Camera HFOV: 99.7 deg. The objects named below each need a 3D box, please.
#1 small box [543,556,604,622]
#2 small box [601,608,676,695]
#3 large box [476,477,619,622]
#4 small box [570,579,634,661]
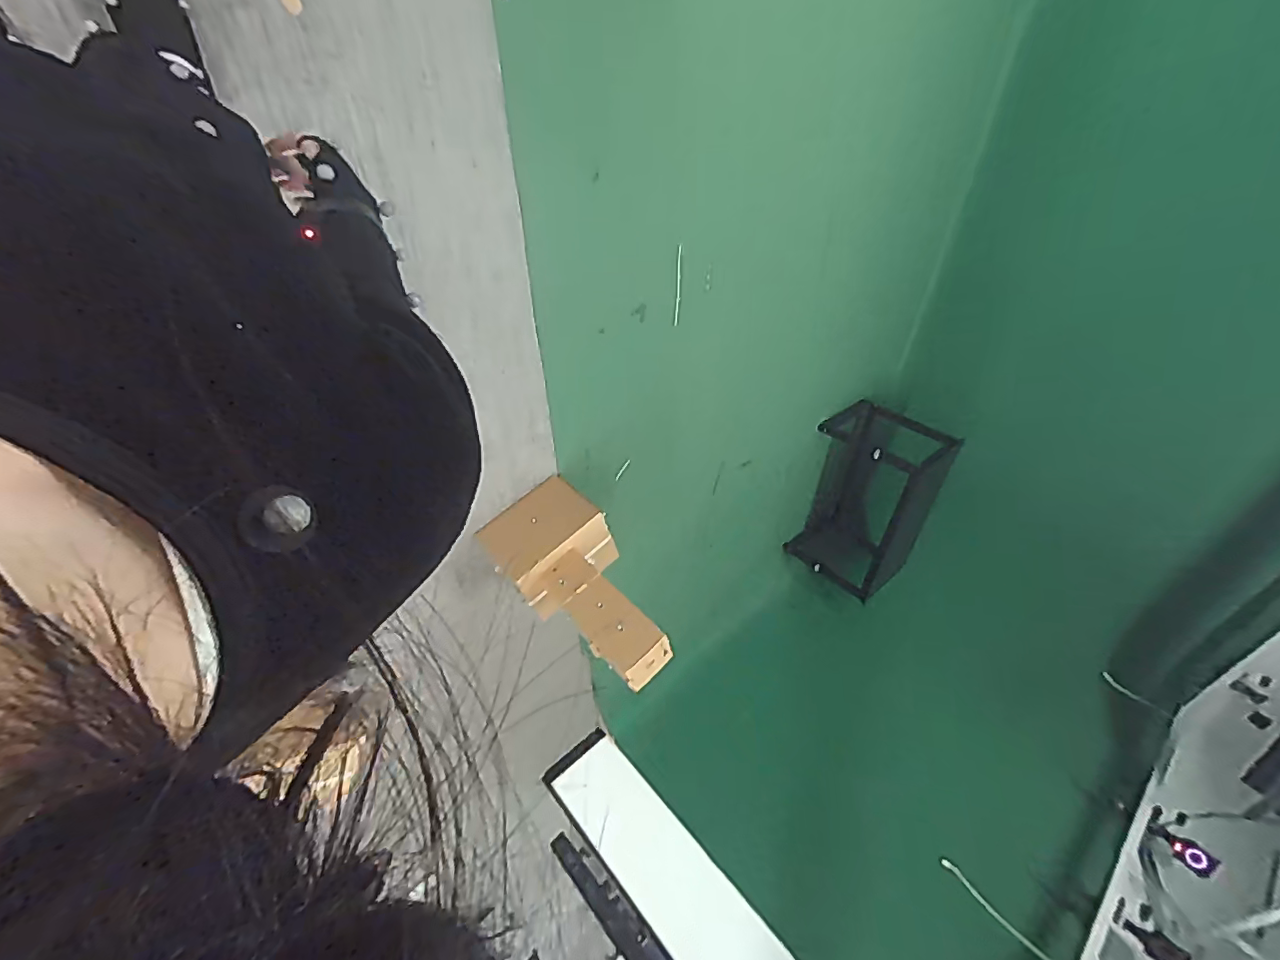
[{"bbox_3d":[-0.227,0.400,1.961,0.168,0.176,0.179,-39,141,-20],"label":"small box"},{"bbox_3d":[-0.010,0.559,1.773,0.179,0.176,0.168,-38,141,-19],"label":"small box"},{"bbox_3d":[-0.355,0.268,2.127,0.408,0.320,0.320,-41,143,-20],"label":"large box"},{"bbox_3d":[-0.121,0.481,1.867,0.179,0.176,0.168,-40,142,-19],"label":"small box"}]
